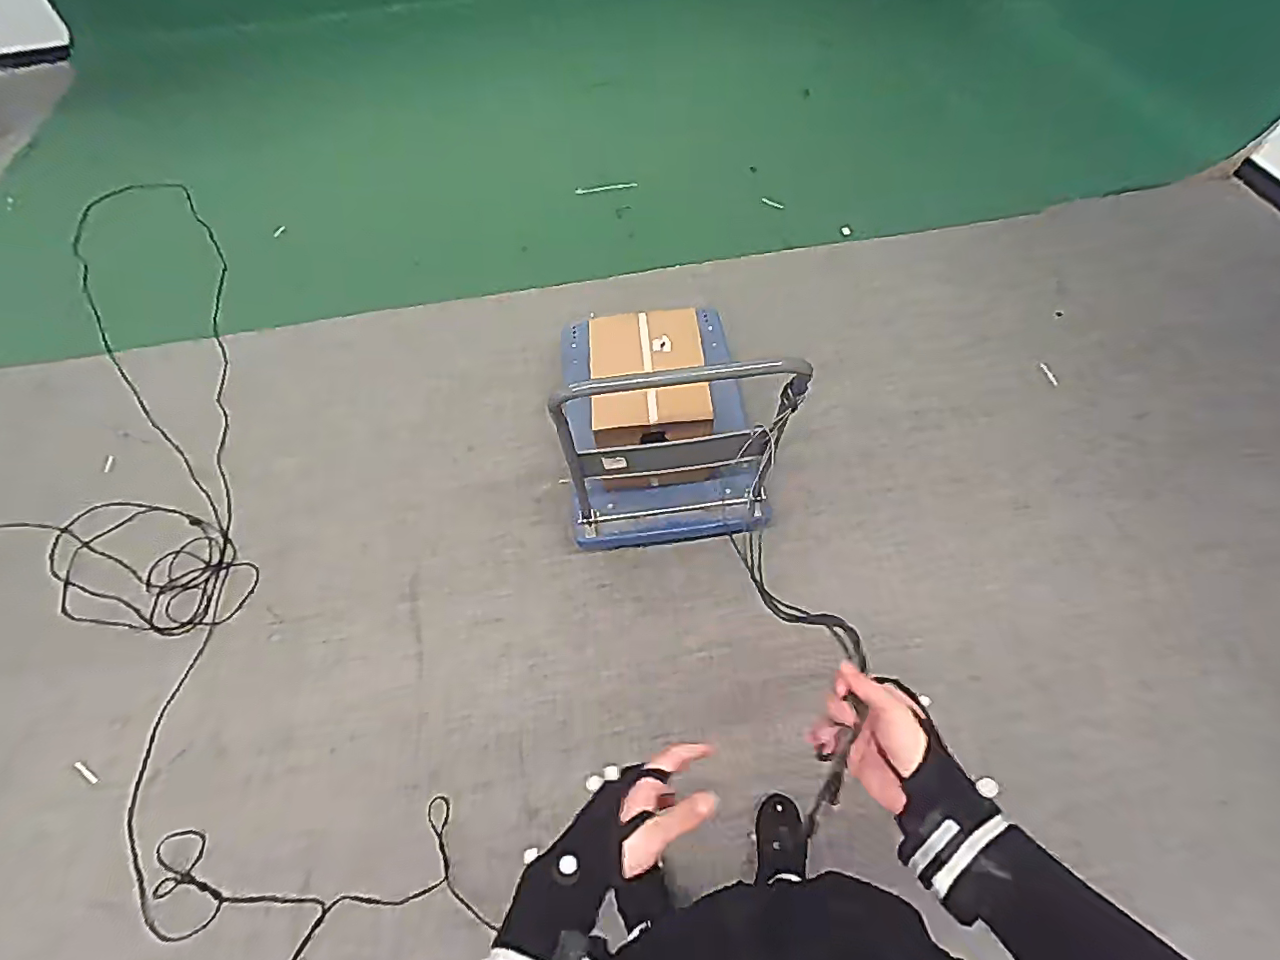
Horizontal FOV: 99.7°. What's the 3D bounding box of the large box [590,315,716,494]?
[{"bbox_3d":[0.033,-0.213,1.579,0.320,0.320,0.408,-5,59,0],"label":"large box"}]
